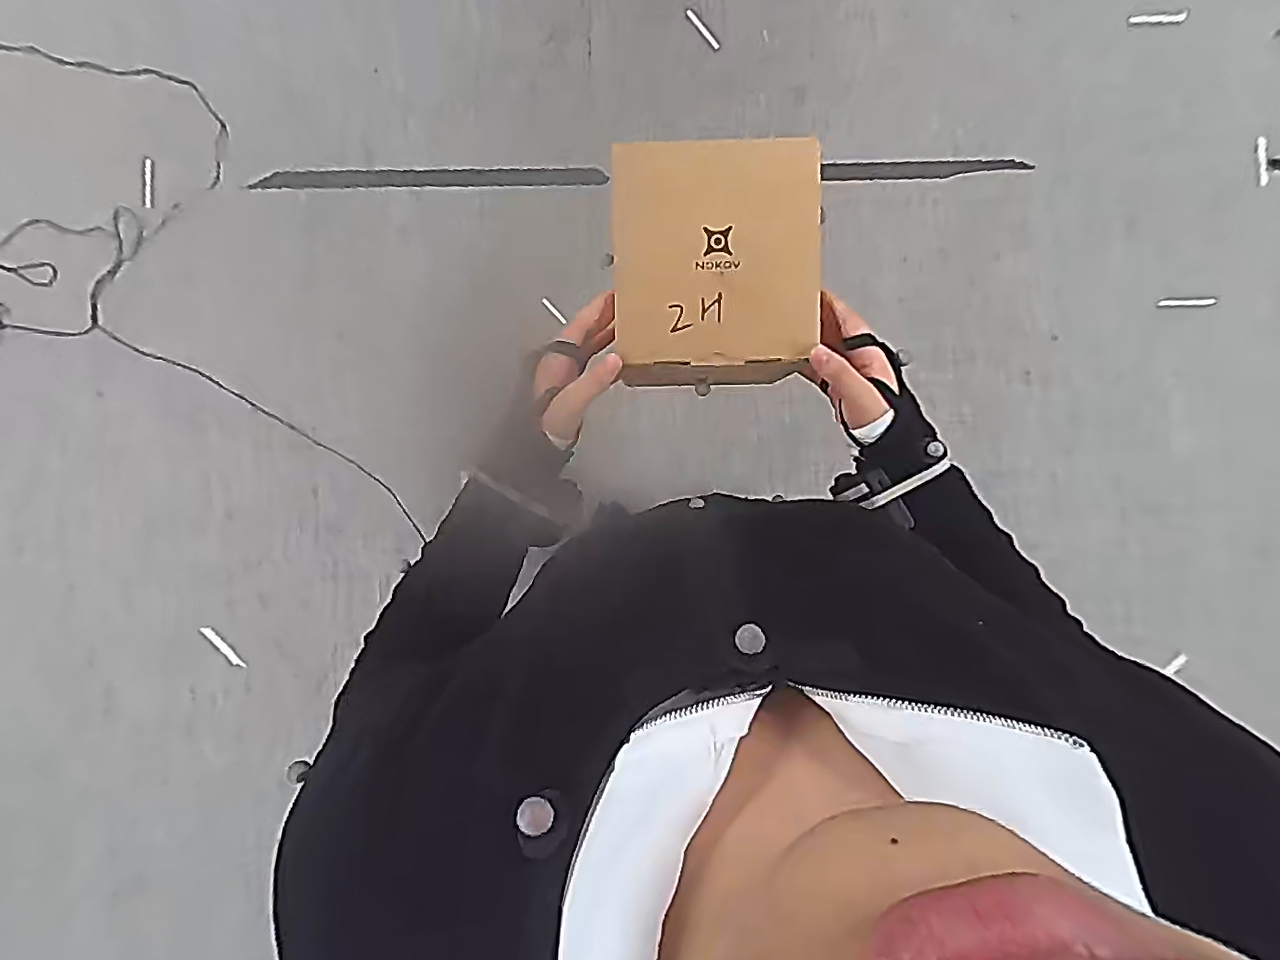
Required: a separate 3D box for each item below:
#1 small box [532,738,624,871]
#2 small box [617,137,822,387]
[{"bbox_3d":[-0.125,0.679,1.147,0.168,0.176,0.179,-6,89,-1],"label":"small box"},{"bbox_3d":[0.063,-0.187,0.511,0.168,0.176,0.179,-1,93,2],"label":"small box"}]
